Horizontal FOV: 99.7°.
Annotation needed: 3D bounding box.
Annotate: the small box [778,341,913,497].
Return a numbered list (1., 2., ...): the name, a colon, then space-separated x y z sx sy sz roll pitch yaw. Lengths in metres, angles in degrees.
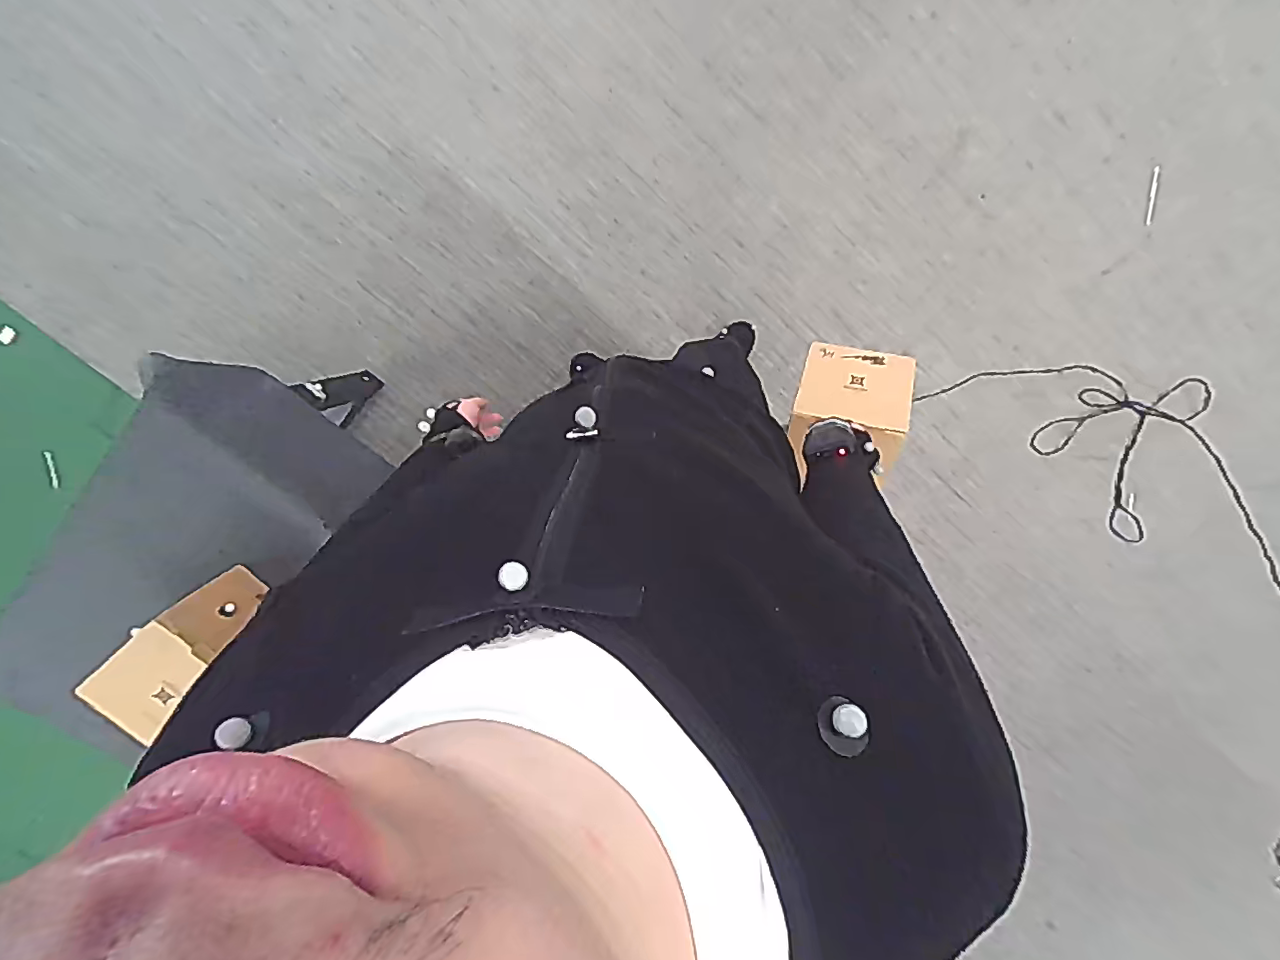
1. small box: 0.331 -0.097 0.891 0.168 0.179 0.176 15 145 16
